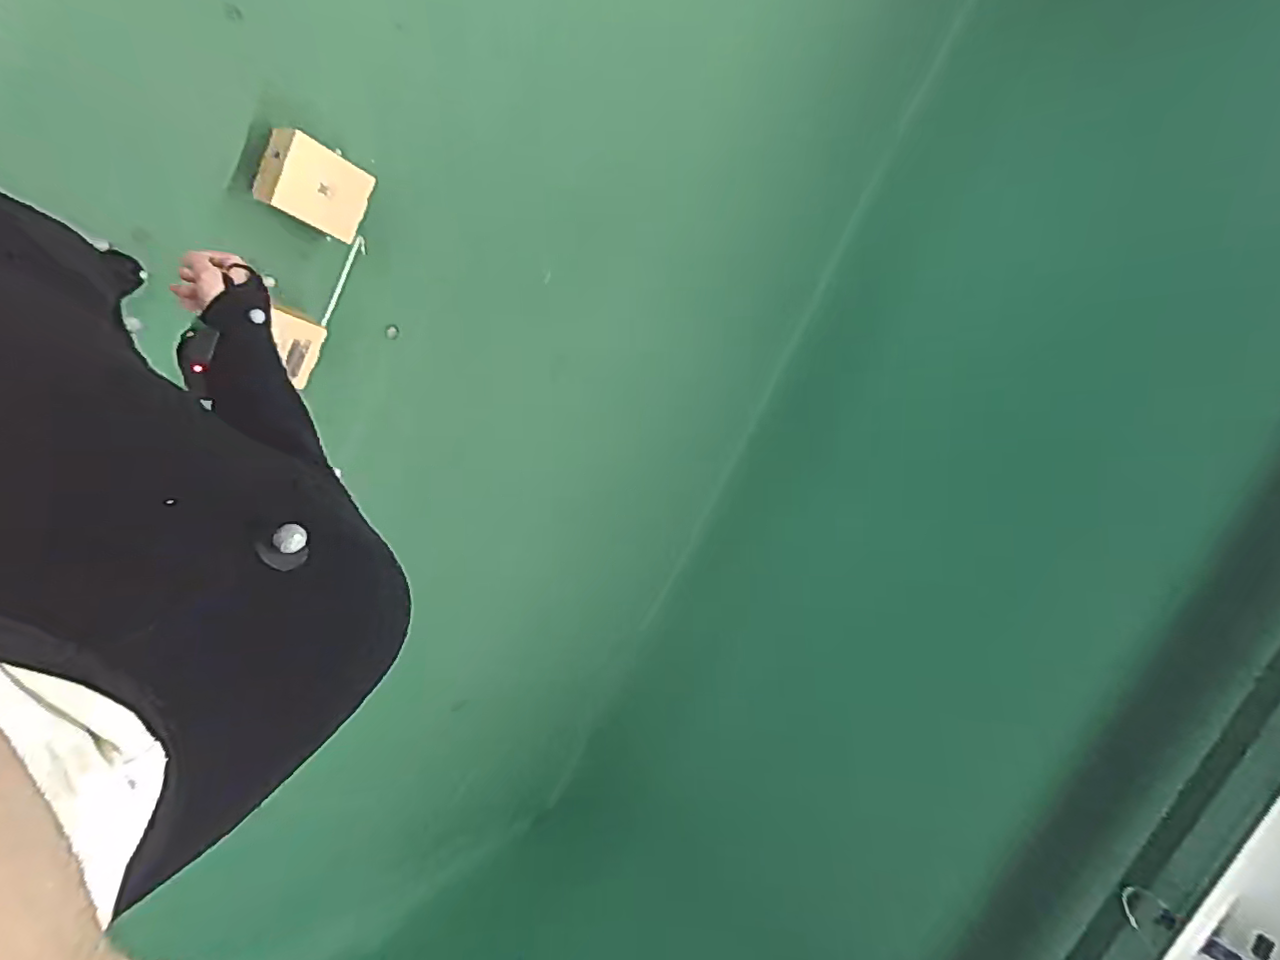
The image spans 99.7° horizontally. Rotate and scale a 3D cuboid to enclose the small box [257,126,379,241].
[{"bbox_3d":[-0.750,-0.684,1.252,0.179,0.176,0.168,15,103,-54],"label":"small box"}]
